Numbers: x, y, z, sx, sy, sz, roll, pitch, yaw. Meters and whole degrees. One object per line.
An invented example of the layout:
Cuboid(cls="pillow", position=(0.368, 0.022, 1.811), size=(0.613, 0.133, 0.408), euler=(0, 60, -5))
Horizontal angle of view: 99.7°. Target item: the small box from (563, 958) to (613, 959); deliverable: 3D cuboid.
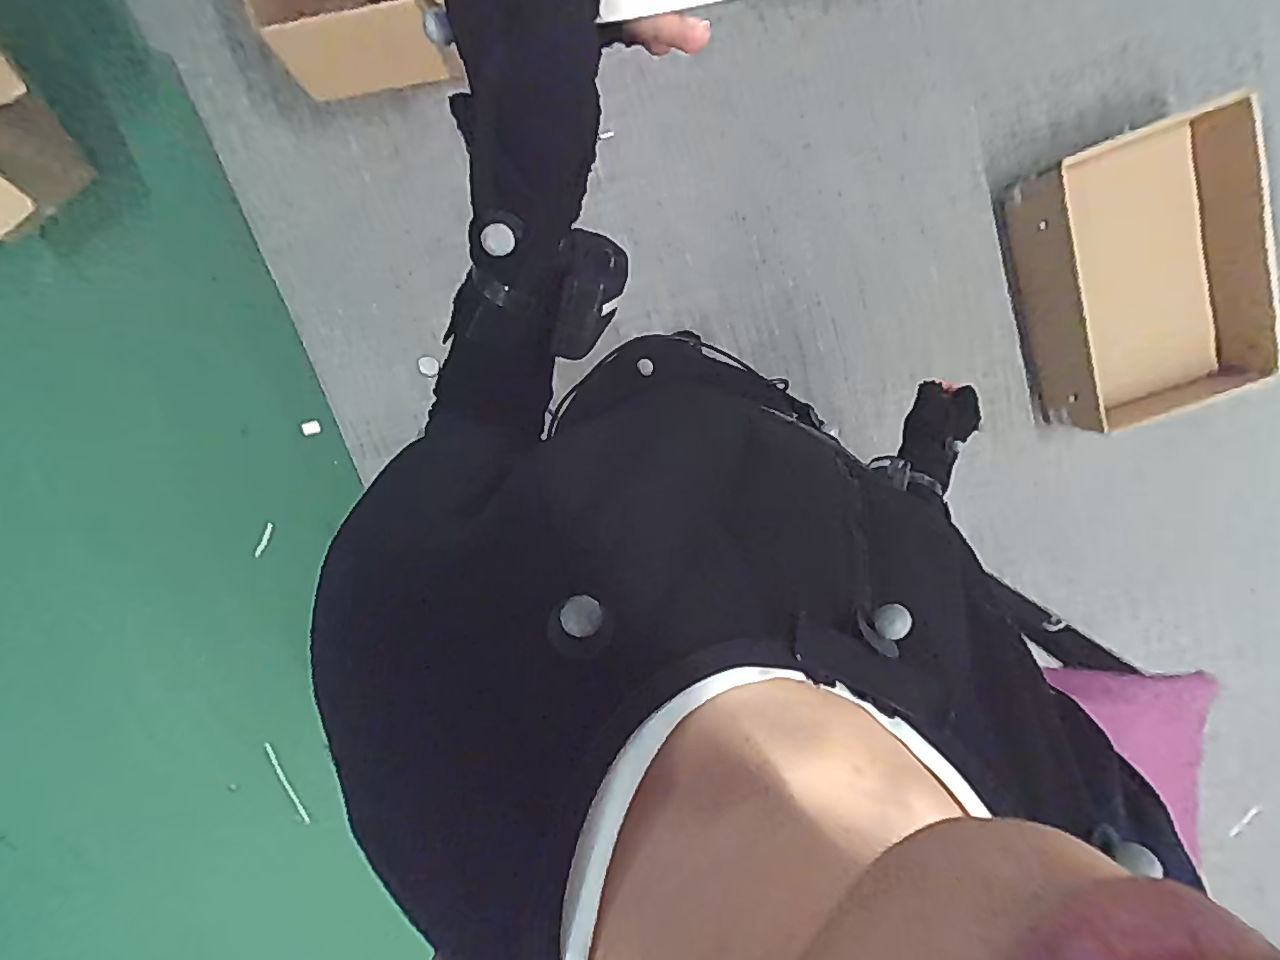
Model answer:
Cuboid(cls="small box", position=(-0.095, 0.897, 0.846), size=(0.168, 0.176, 0.179), euler=(-9, 102, 3))
